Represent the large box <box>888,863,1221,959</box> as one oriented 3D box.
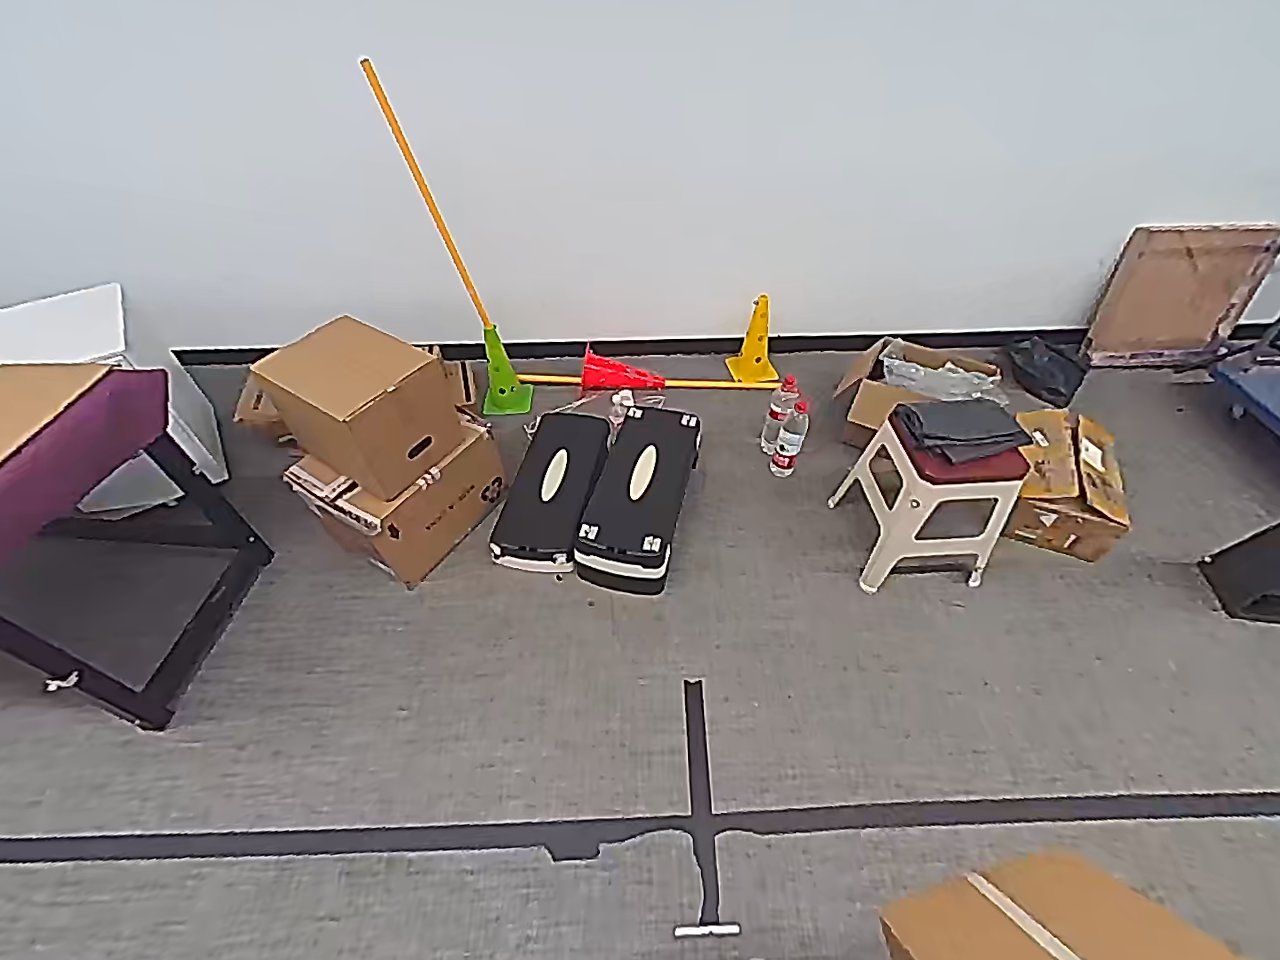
[{"bbox_3d":[0.558,0.733,0.599,0.320,0.408,0.320,-14,83,-6],"label":"large box"}]
